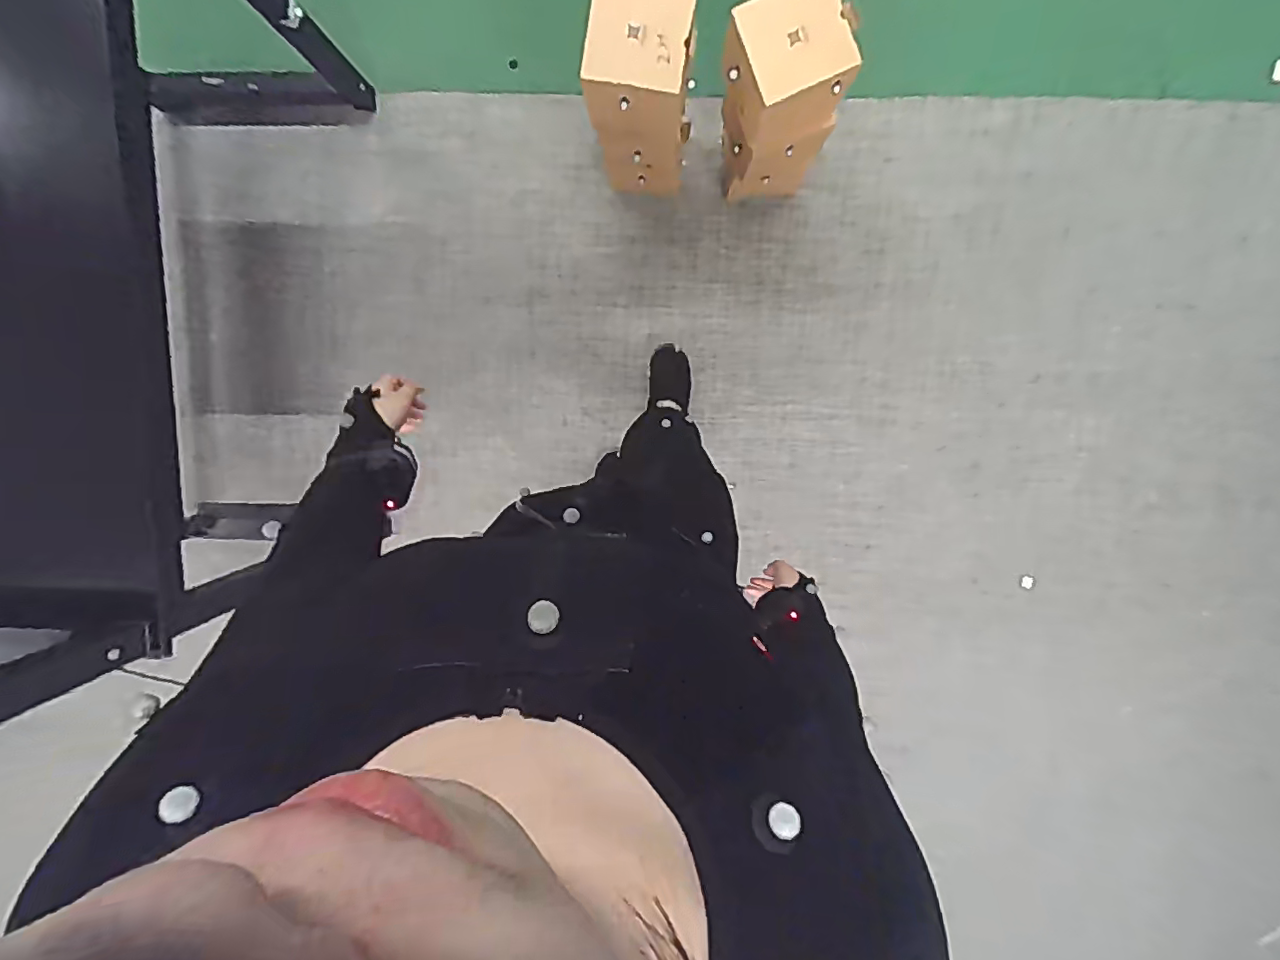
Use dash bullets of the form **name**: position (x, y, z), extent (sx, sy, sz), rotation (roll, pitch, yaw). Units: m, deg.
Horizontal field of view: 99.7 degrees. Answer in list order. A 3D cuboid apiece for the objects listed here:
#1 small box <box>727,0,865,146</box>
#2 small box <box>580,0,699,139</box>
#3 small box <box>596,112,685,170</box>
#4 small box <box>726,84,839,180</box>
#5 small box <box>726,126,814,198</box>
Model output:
- **small box**: position (0.265, -0.743, 0.967), extent (0.179, 0.176, 0.168), rotation (-23, 97, 4)
- **small box**: position (0.002, -0.747, 0.971), extent (0.179, 0.176, 0.168), rotation (11, 98, 1)
- **small box**: position (0.009, -0.780, 1.134), extent (0.168, 0.176, 0.179), rotation (8, 98, 2)
- **small box**: position (0.287, -0.760, 1.128), extent (0.179, 0.176, 0.168), rotation (-18, 98, 4)
- **small box**: position (0.301, -0.792, 1.287), extent (0.179, 0.176, 0.168), rotation (-5, 98, 2)
